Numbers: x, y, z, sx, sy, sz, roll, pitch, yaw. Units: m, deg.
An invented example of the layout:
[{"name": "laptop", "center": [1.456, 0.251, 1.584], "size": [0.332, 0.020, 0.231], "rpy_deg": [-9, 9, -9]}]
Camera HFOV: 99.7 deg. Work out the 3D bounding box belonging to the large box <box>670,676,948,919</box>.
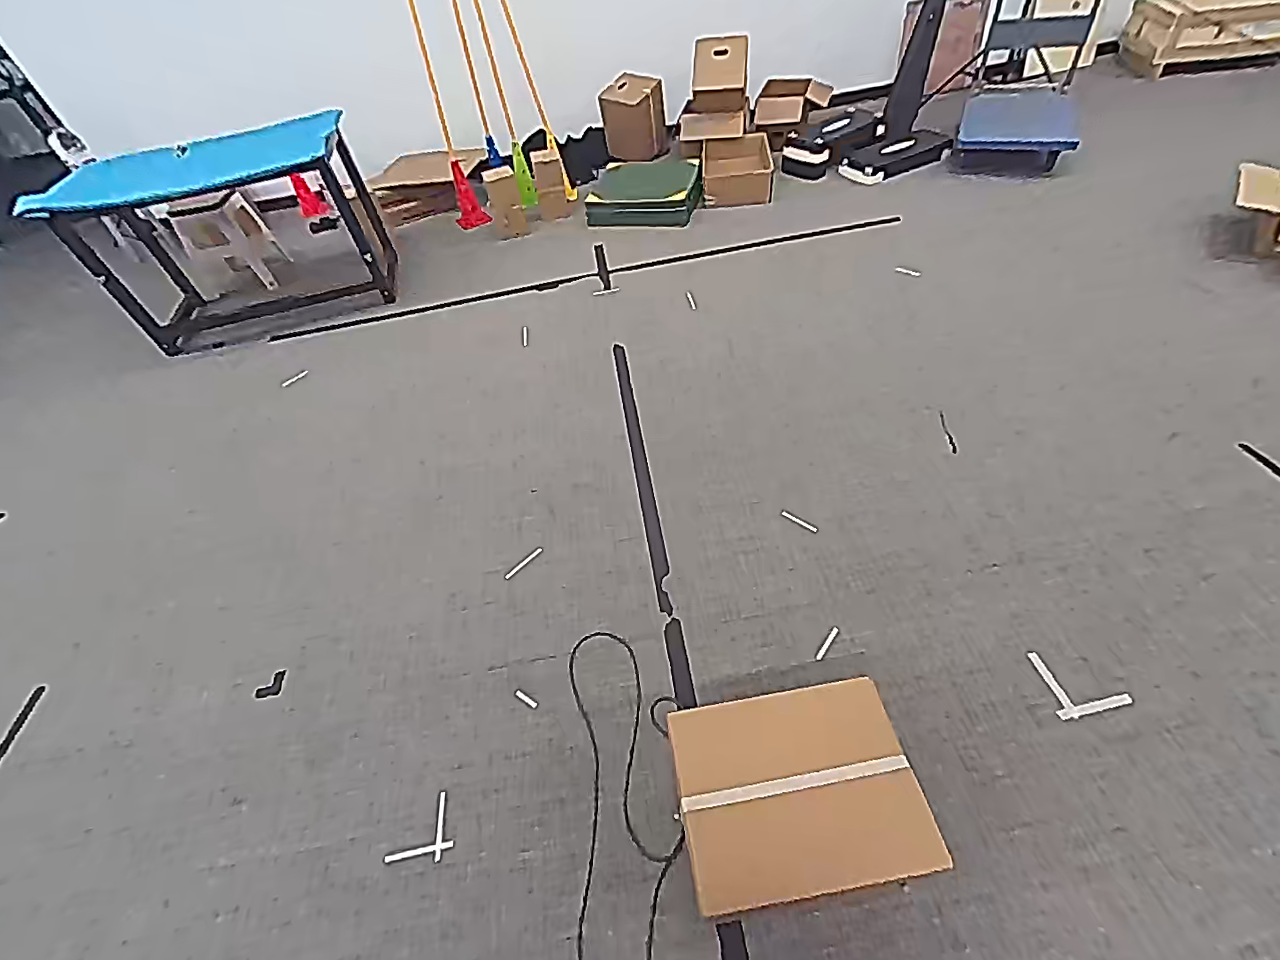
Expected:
[{"name": "large box", "center": [0.290, 0.624, 1.058], "size": [0.408, 0.320, 0.320], "rpy_deg": [-10, 48, -2]}]
